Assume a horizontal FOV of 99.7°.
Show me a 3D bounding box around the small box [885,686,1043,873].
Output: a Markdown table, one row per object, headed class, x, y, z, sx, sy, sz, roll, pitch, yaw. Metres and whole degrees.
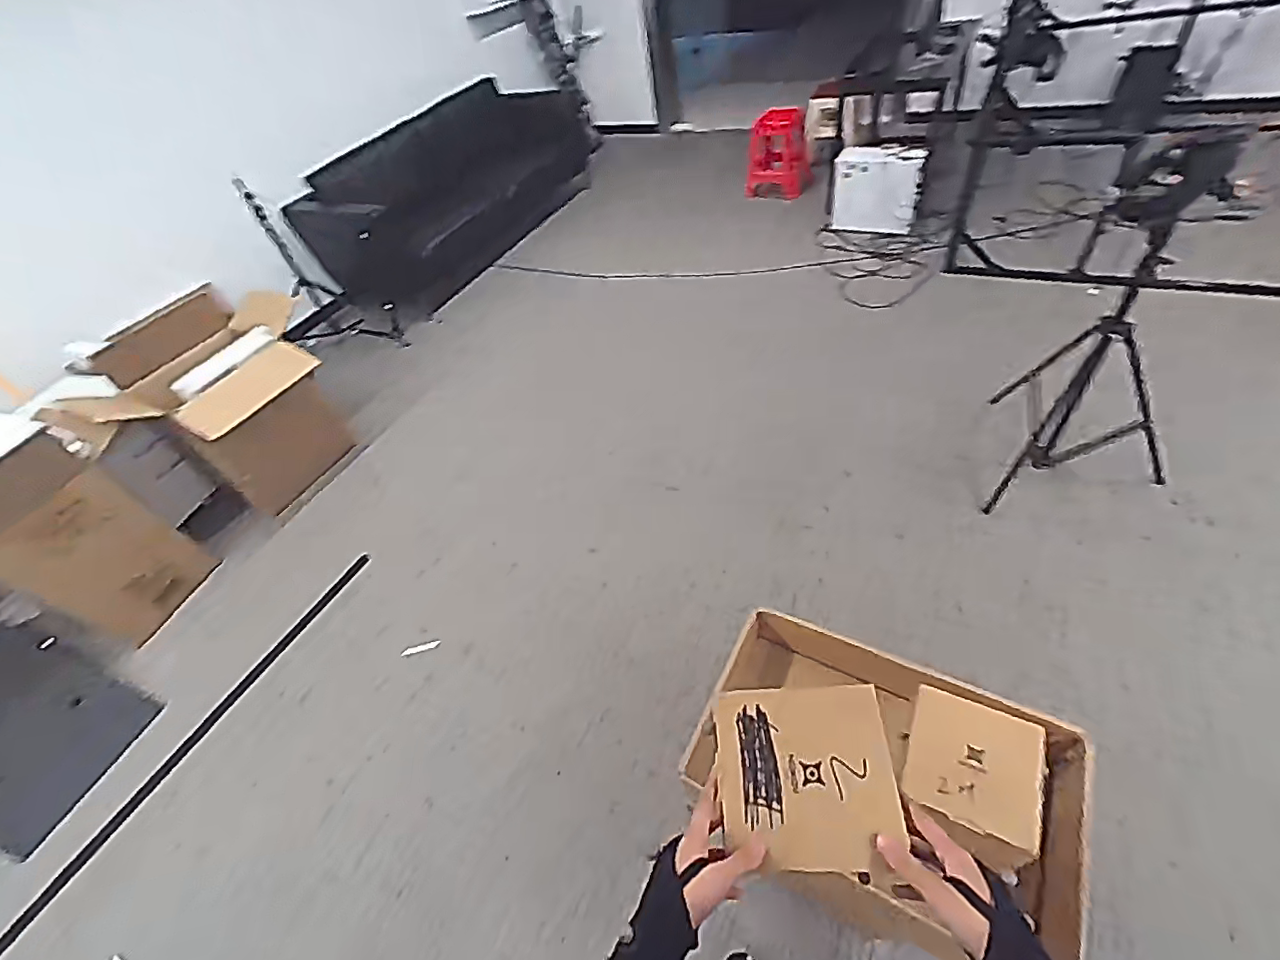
| class | x | y | z | sx | sy | sz | roll | pitch | yaw |
| --- | --- | --- | --- | --- | --- | --- | --- | --- | --- |
| small box | 0.485 | 0.455 | 0.824 | 0.168 | 0.176 | 0.179 | 15 | 53 | 26 |
